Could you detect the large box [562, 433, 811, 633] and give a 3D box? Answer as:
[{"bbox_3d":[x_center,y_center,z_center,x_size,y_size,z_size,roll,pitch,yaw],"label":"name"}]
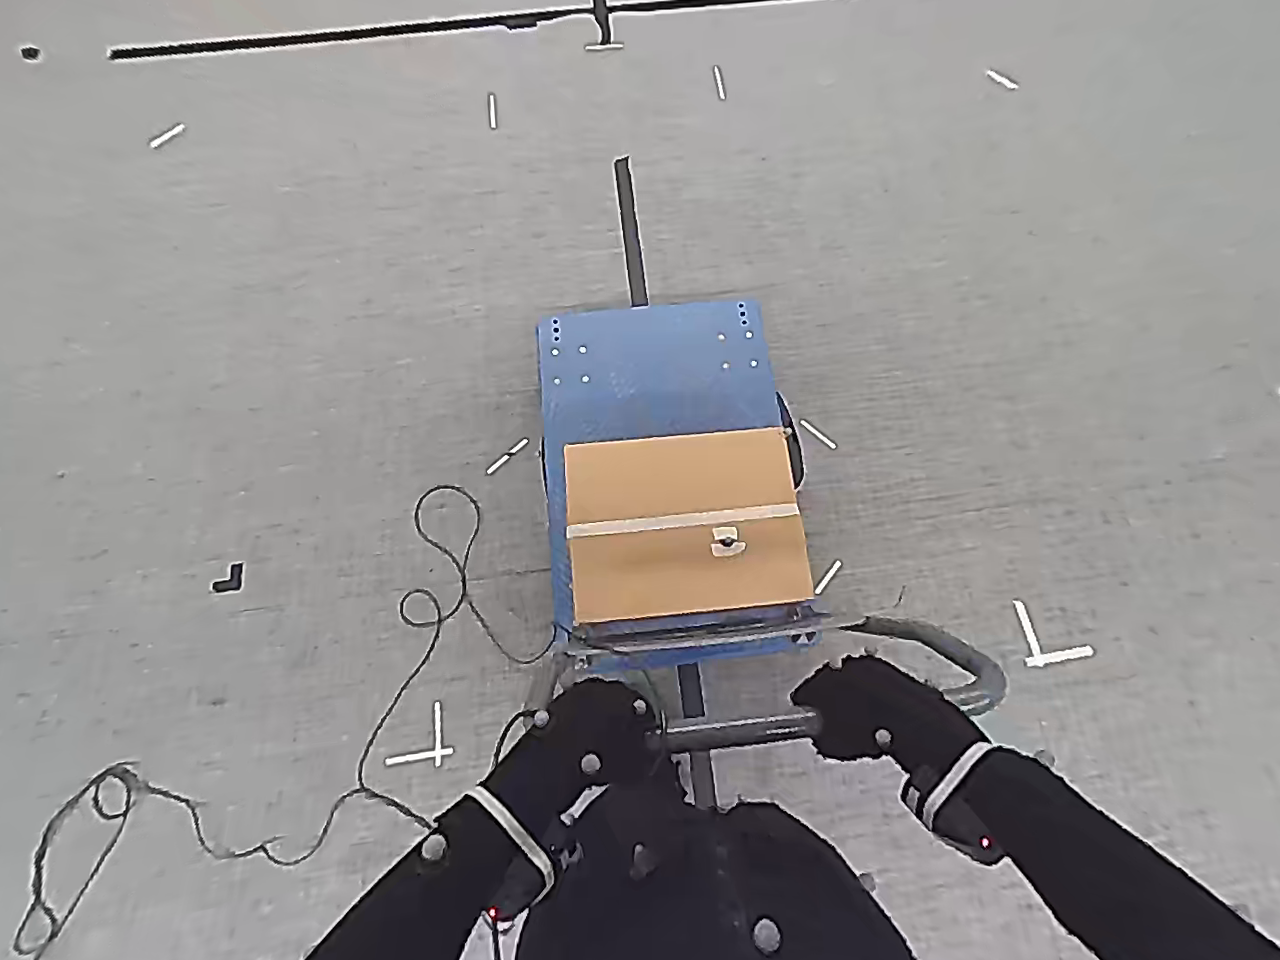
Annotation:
[{"bbox_3d":[0.068,0.122,1.075,0.408,0.320,0.320,-5,75,-4],"label":"large box"}]
